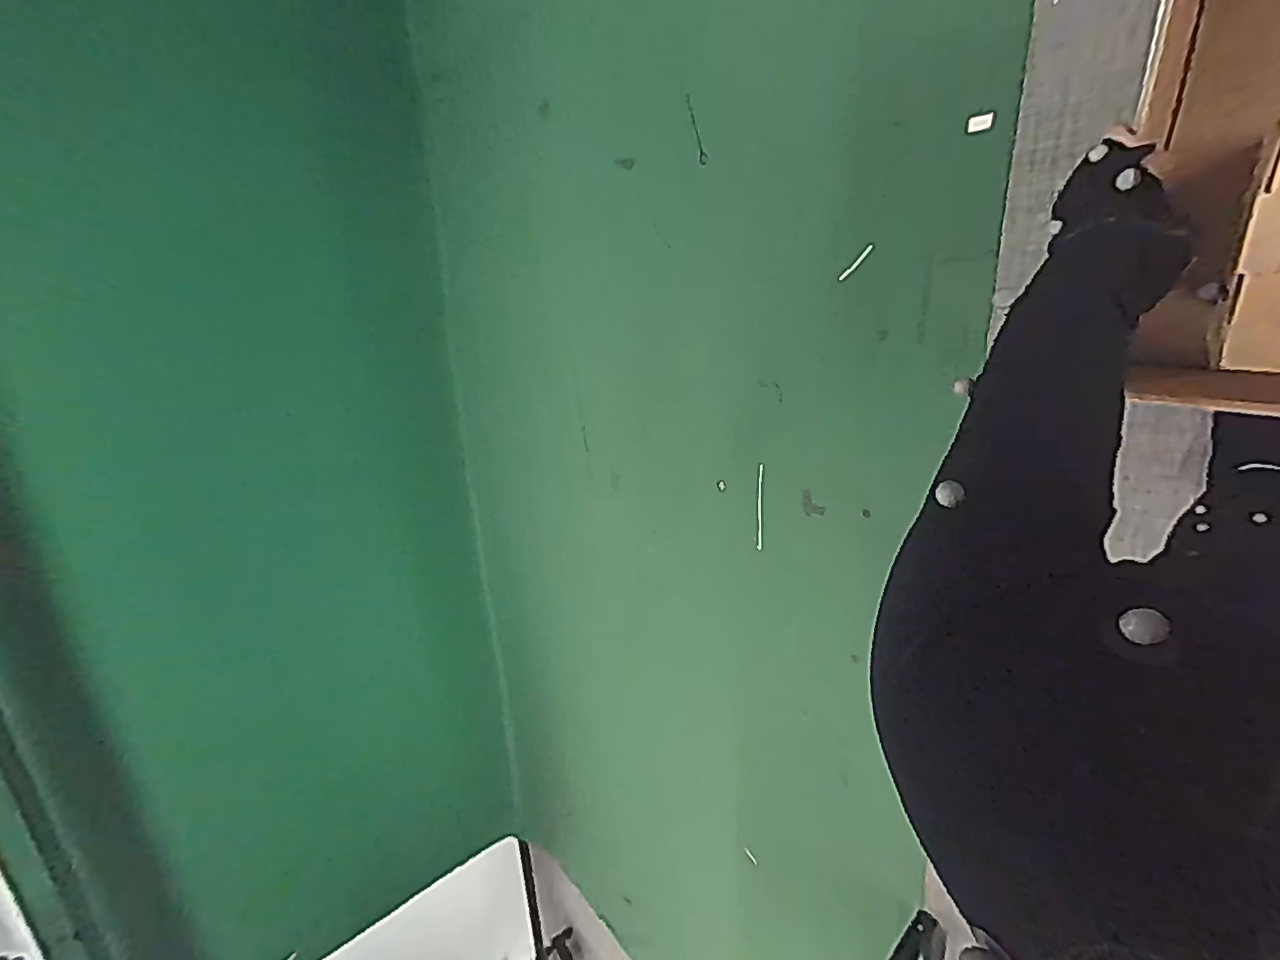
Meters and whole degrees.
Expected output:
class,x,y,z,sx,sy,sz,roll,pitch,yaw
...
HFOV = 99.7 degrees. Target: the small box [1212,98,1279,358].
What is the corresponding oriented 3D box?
class,x,y,z,sx,sy,sz,roll,pitch,yaw
small box,0.492,-0.166,0.328,0.179,0.176,0.168,14,118,41
